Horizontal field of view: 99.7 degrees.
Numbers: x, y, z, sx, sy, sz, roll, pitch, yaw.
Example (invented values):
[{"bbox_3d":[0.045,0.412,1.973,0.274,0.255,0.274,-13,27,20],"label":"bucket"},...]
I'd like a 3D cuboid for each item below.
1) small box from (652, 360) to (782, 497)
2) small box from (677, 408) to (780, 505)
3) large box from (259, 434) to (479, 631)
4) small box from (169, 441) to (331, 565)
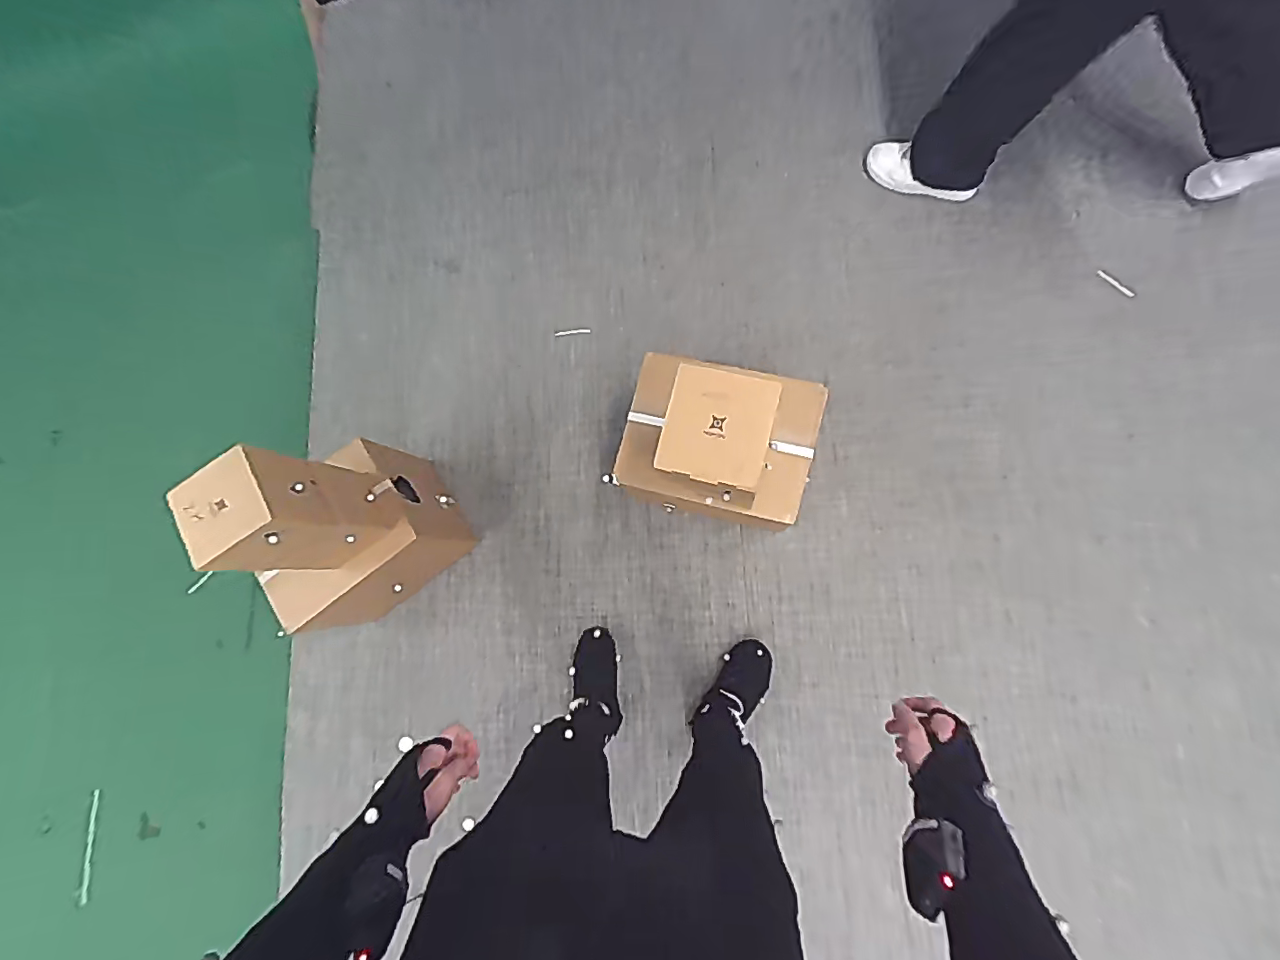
[{"bbox_3d":[0.132,-0.076,0.907,0.168,0.176,0.179,15,85,12],"label":"small box"},{"bbox_3d":[0.166,-0.060,1.066,0.168,0.176,0.179,17,86,12],"label":"small box"},{"bbox_3d":[-0.726,0.141,1.451,0.408,0.320,0.320,-37,76,5],"label":"large box"},{"bbox_3d":[-0.737,0.050,1.045,0.179,0.176,0.168,-32,77,5],"label":"small box"}]
